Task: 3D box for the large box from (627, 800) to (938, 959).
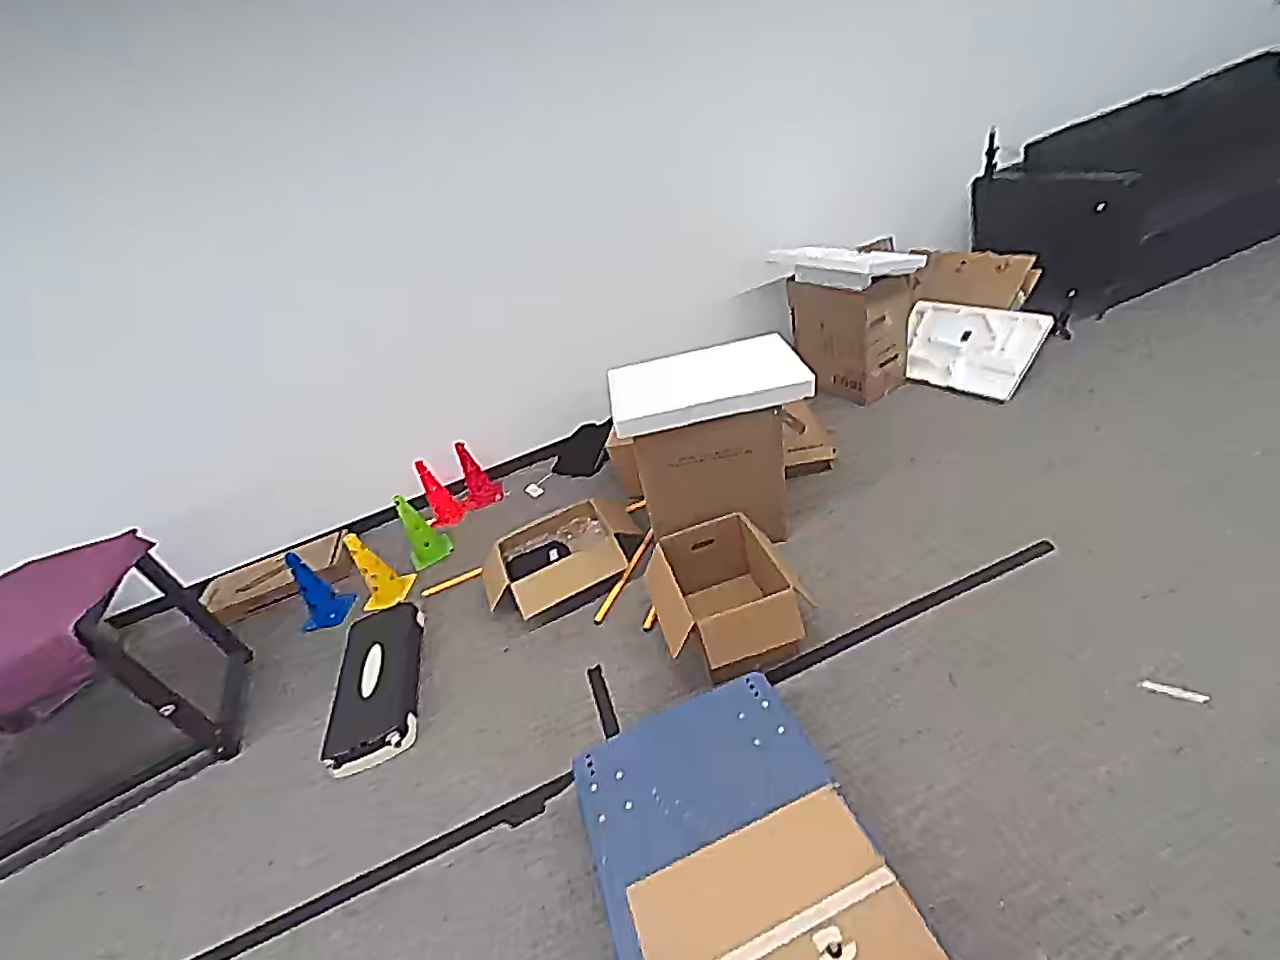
[{"bbox_3d":[0.237,0.823,0.868,0.408,0.320,0.320,-21,33,-9],"label":"large box"}]
